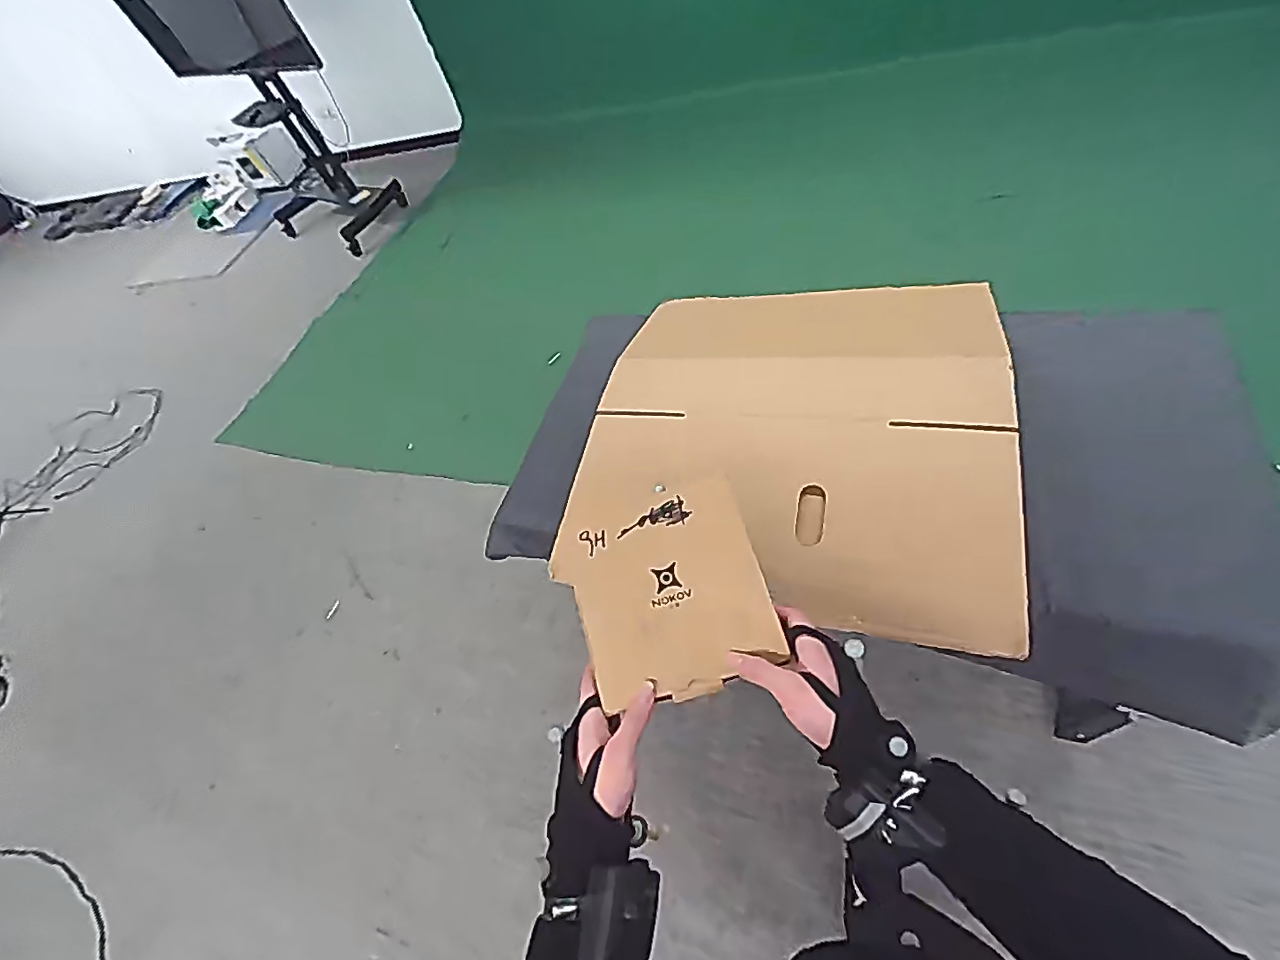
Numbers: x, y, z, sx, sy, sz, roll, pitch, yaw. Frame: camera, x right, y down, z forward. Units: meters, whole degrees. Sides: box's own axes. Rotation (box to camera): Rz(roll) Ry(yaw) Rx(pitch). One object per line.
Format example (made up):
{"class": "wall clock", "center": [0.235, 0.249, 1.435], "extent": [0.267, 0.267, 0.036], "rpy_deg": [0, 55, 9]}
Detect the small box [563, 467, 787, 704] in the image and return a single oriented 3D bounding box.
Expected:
{"class": "small box", "center": [0.039, 0.113, 0.562], "extent": [0.168, 0.176, 0.179], "rpy_deg": [-19, 70, 3]}
